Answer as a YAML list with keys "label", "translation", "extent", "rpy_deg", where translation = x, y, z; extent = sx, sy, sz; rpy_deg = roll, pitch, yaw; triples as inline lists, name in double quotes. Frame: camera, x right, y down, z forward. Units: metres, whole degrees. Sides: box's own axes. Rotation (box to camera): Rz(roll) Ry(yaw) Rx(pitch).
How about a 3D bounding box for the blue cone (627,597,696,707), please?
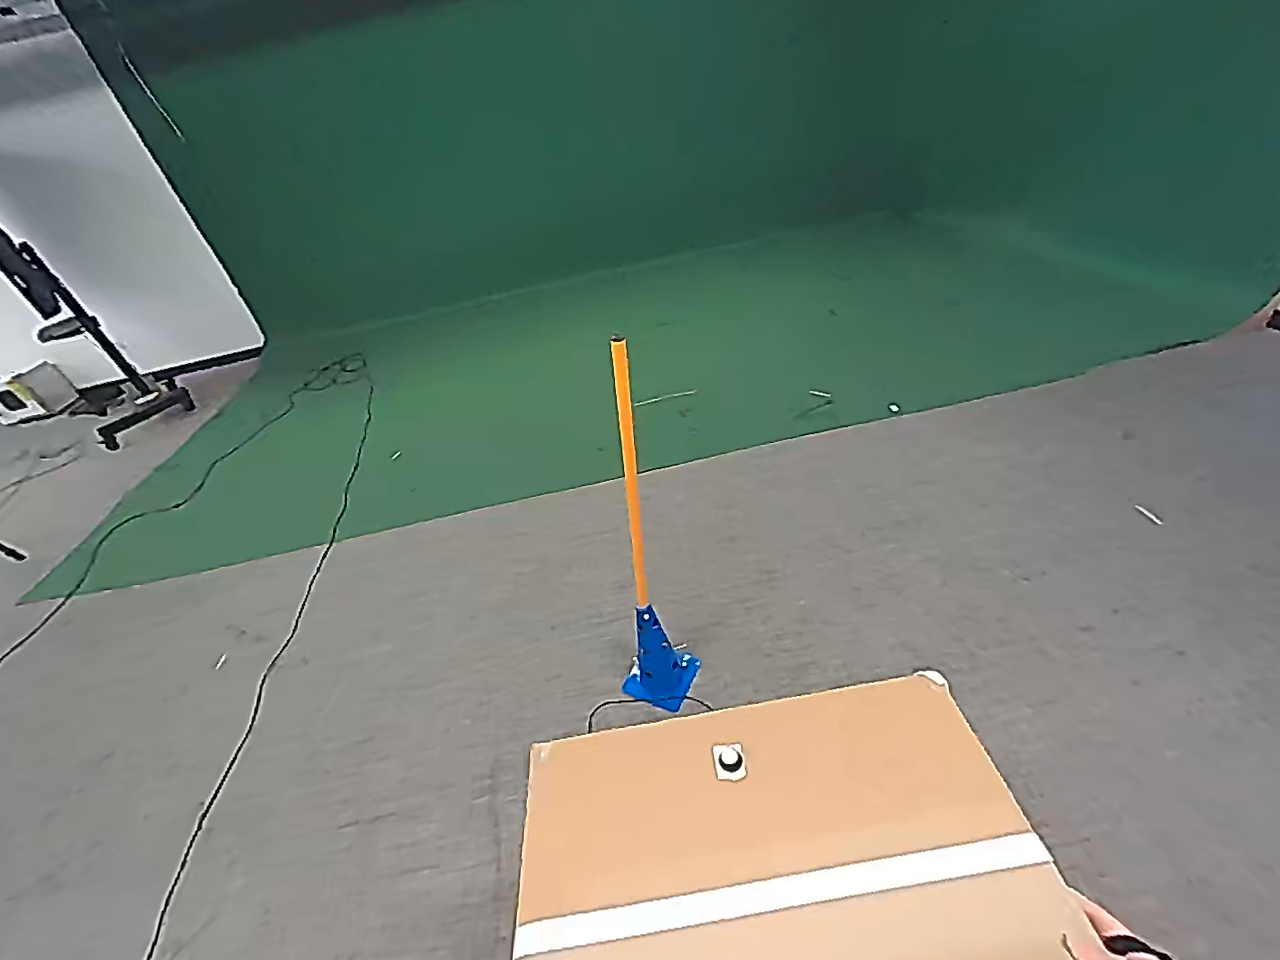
- label: "blue cone"
  translation: [0.041, 0.484, 1.609]
  extent: [0.192, 0.380, 0.193]
  rpy_deg: [9, 41, 25]
